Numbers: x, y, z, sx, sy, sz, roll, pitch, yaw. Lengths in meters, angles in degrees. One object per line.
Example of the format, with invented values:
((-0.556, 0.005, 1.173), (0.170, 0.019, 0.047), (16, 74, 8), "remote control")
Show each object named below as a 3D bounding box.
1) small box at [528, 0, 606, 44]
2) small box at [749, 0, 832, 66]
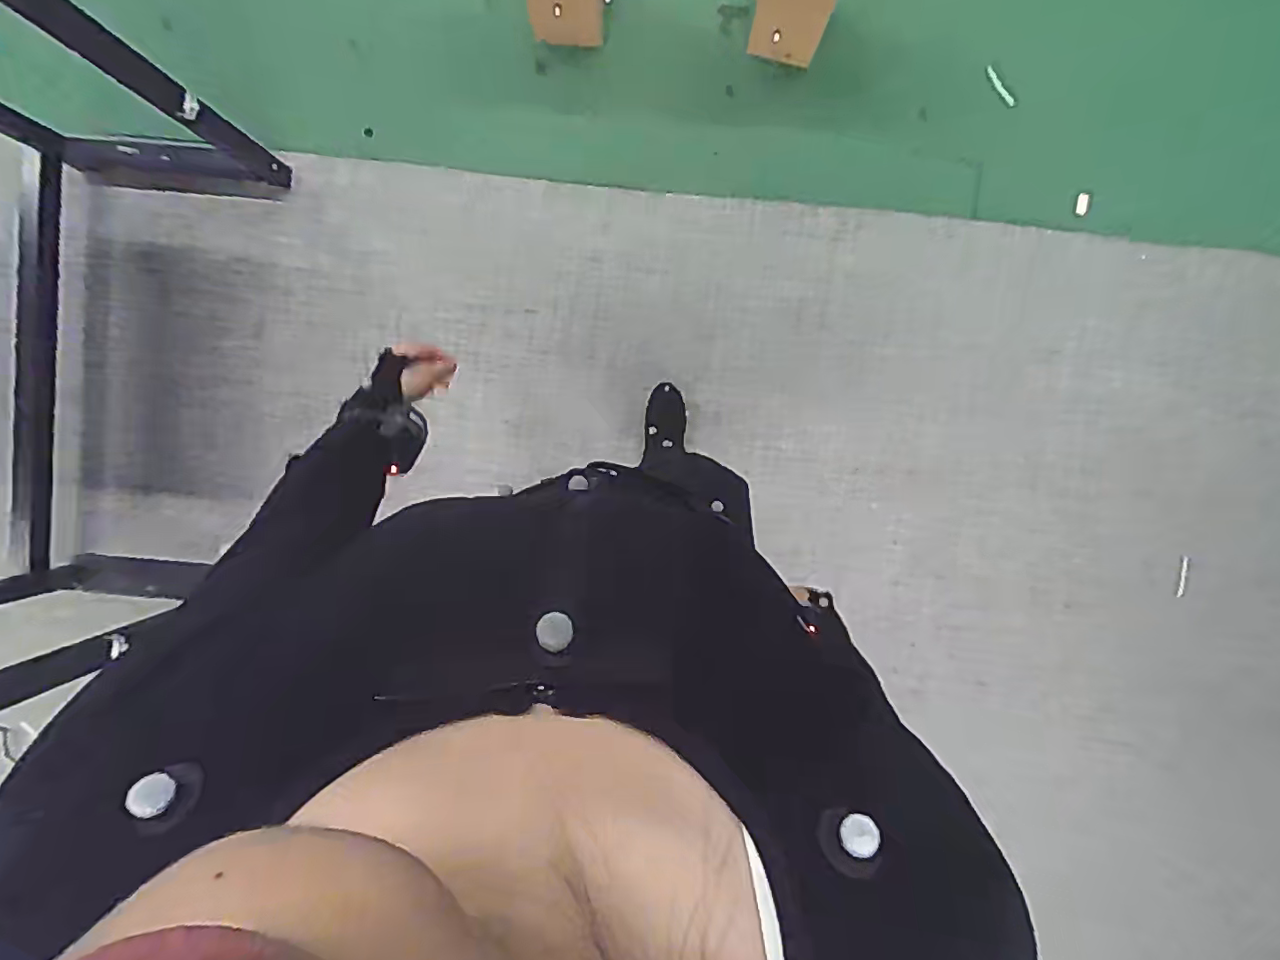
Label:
((-0.180, -1.205, 1.310), (0.179, 0.176, 0.168), (5, 95, 0), "small box")
((0.372, -1.161, 1.314), (0.168, 0.176, 0.179), (14, 94, -1), "small box")
